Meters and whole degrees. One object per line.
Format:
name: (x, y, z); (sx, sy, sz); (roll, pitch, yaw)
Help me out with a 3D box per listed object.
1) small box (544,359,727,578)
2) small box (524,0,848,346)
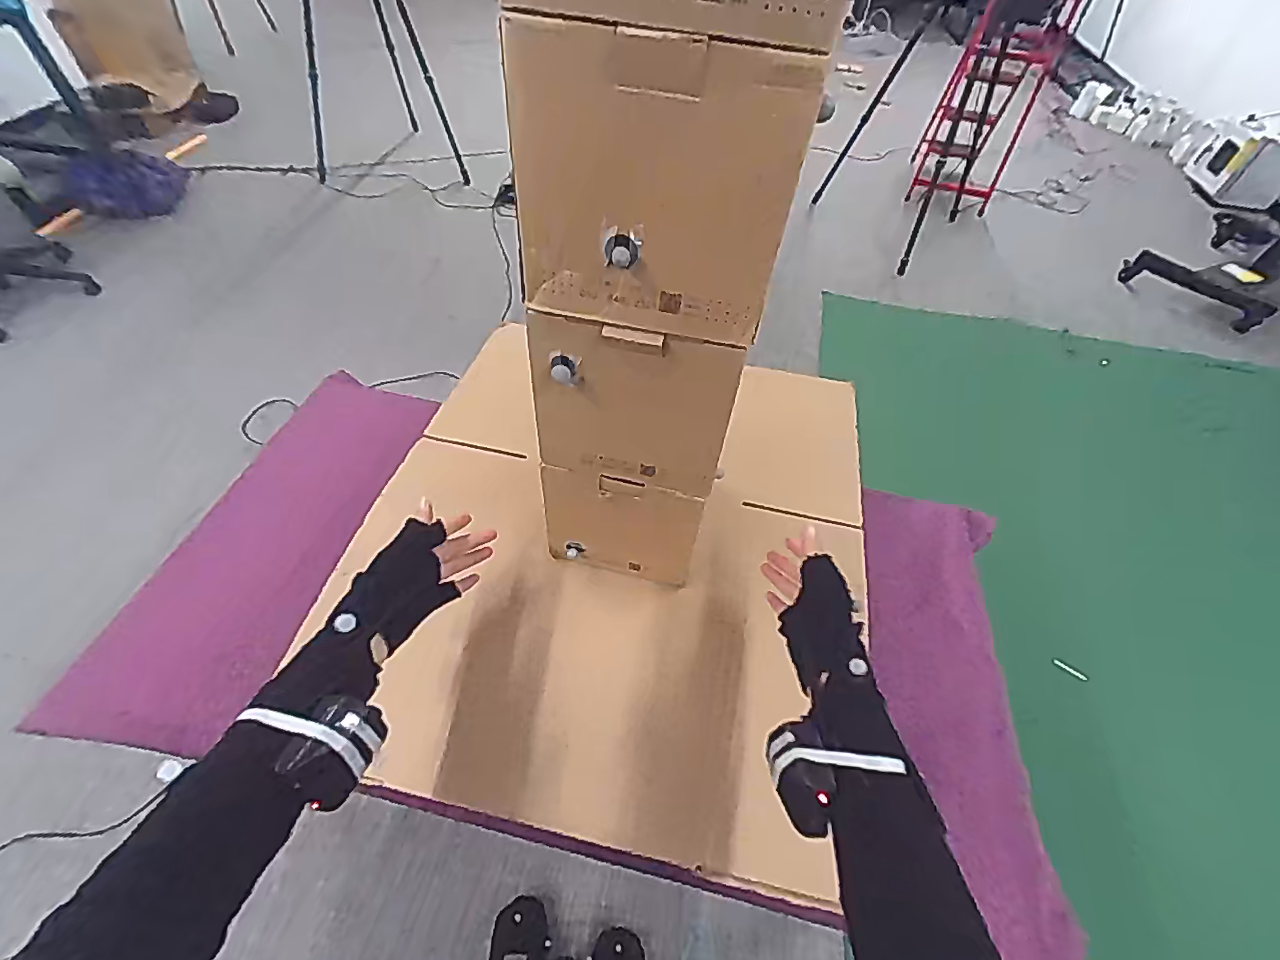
small box: (-0.002, -0.009, 0.623); (0.168, 0.176, 0.179); (10, 51, 3)
small box: (0.028, -0.223, 0.377); (0.168, 0.176, 0.179); (11, 50, 3)
